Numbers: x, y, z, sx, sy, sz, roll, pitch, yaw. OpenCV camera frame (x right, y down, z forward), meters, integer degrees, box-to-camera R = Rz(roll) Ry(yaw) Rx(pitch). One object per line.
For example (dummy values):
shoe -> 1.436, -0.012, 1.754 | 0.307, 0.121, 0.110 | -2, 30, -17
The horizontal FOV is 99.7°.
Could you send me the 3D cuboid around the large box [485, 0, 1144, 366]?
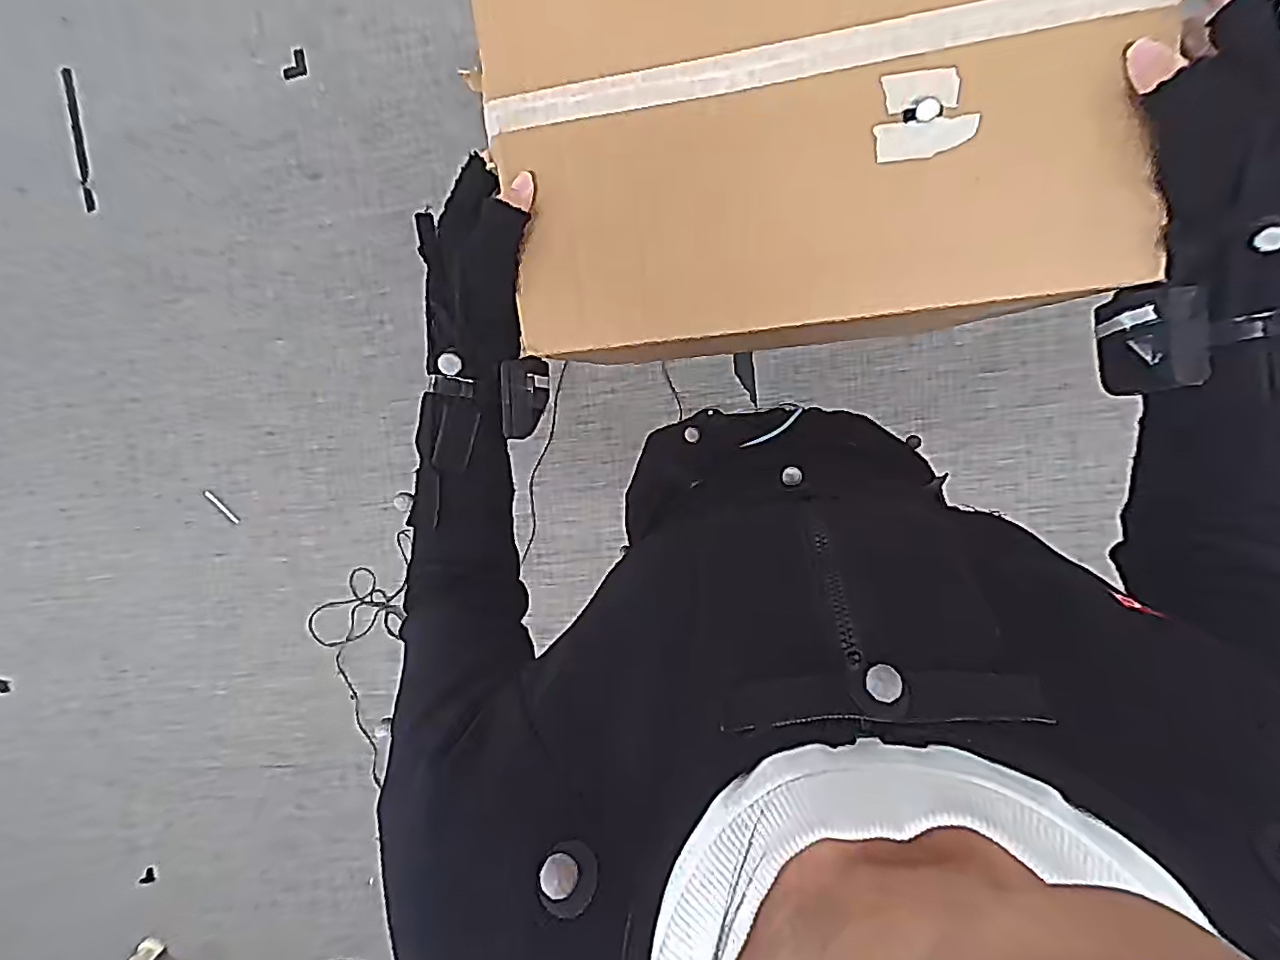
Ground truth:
large box -> 0.117, -0.289, 0.492 | 0.408, 0.320, 0.320 | -5, 100, 8
